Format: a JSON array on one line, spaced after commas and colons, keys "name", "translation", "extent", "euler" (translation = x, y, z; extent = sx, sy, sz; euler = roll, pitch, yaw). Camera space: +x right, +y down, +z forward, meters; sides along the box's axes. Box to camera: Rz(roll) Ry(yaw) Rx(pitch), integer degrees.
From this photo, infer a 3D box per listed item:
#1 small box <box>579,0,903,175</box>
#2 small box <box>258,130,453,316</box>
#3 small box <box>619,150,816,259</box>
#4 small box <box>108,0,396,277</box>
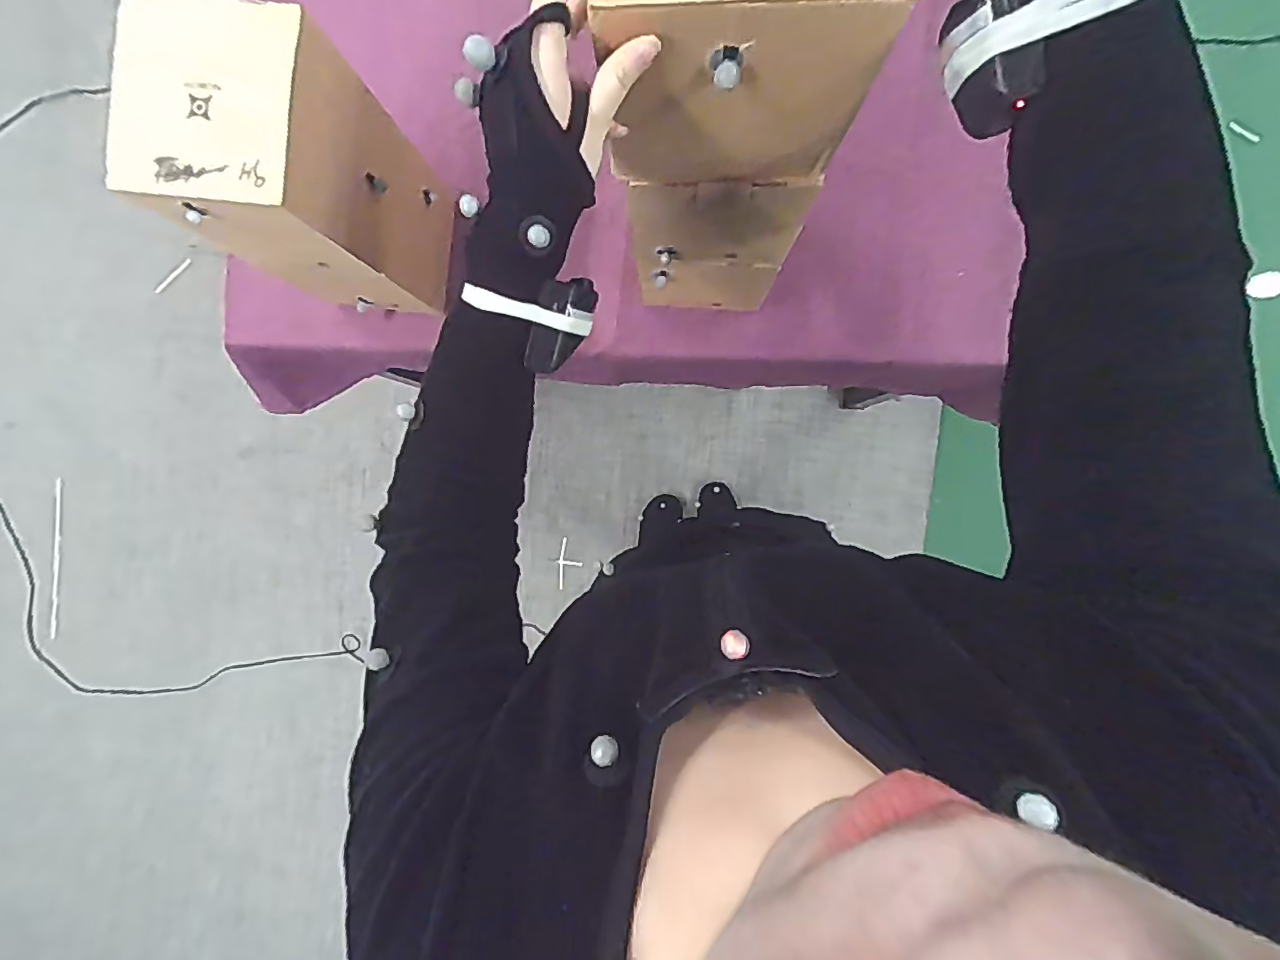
[{"name": "small box", "translation": [0.059, -0.333, 0.367], "extent": [0.179, 0.176, 0.168], "euler": [0, 90, 4]}, {"name": "small box", "translation": [-0.365, -0.336, 0.720], "extent": [0.168, 0.176, 0.179], "euler": [7, 92, 4]}, {"name": "small box", "translation": [0.073, -0.332, 0.529], "extent": [0.168, 0.176, 0.179], "euler": [2, 90, 3]}, {"name": "small box", "translation": [-0.376, -0.333, 0.556], "extent": [0.168, 0.176, 0.179], "euler": [7, 91, 5]}]
